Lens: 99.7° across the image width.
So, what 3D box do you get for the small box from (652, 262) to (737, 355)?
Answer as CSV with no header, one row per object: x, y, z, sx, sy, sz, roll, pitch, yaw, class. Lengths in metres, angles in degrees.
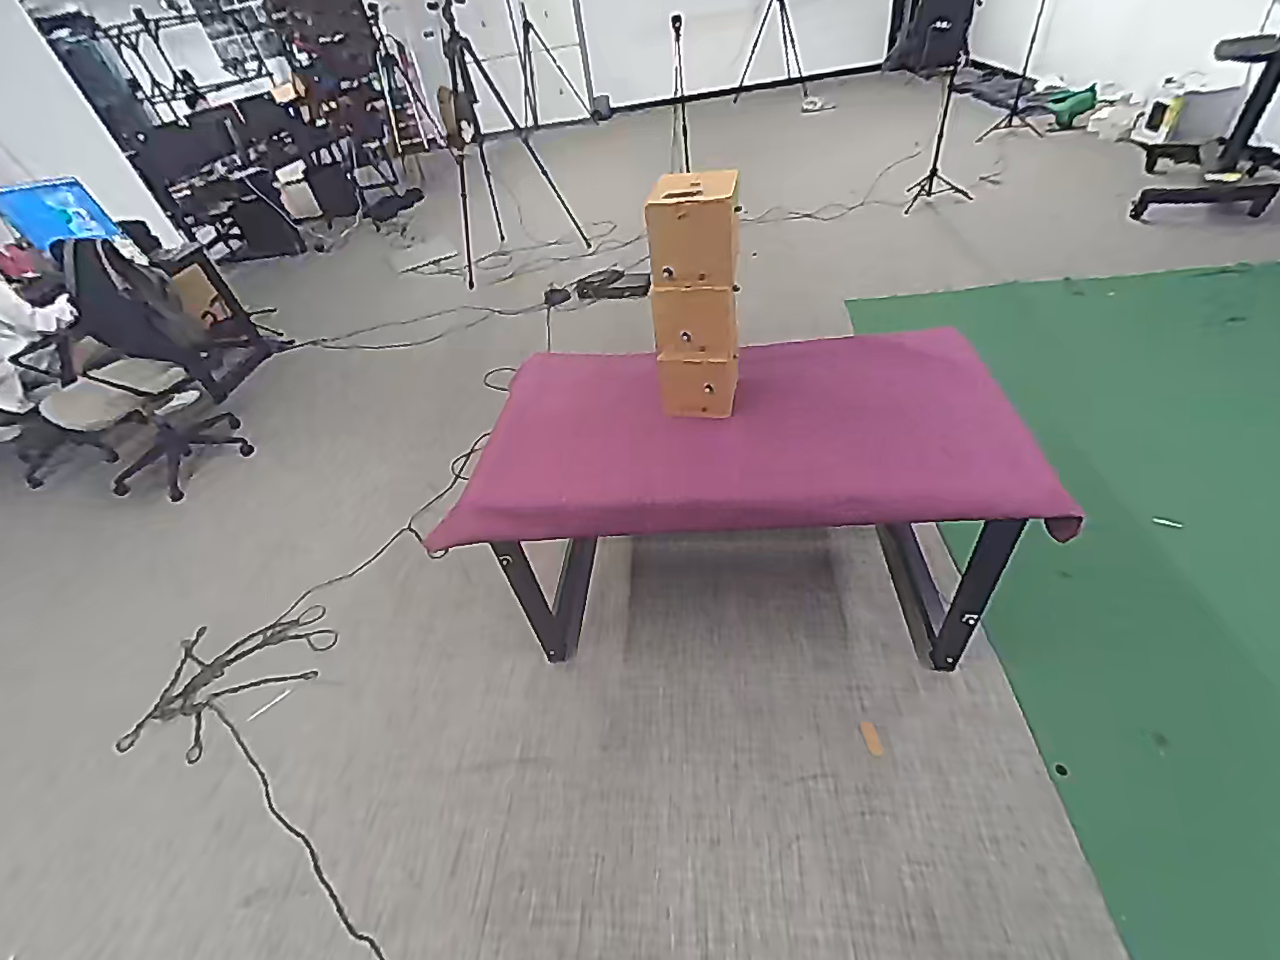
0.129,-0.397,1.221,0.168,0.176,0.179,3,46,13,small box

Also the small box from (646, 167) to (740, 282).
0.117,-0.520,1.112,0.168,0.176,0.179,4,45,13,small box

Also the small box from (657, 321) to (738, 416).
0.149,-0.273,1.323,0.168,0.176,0.179,5,45,16,small box
